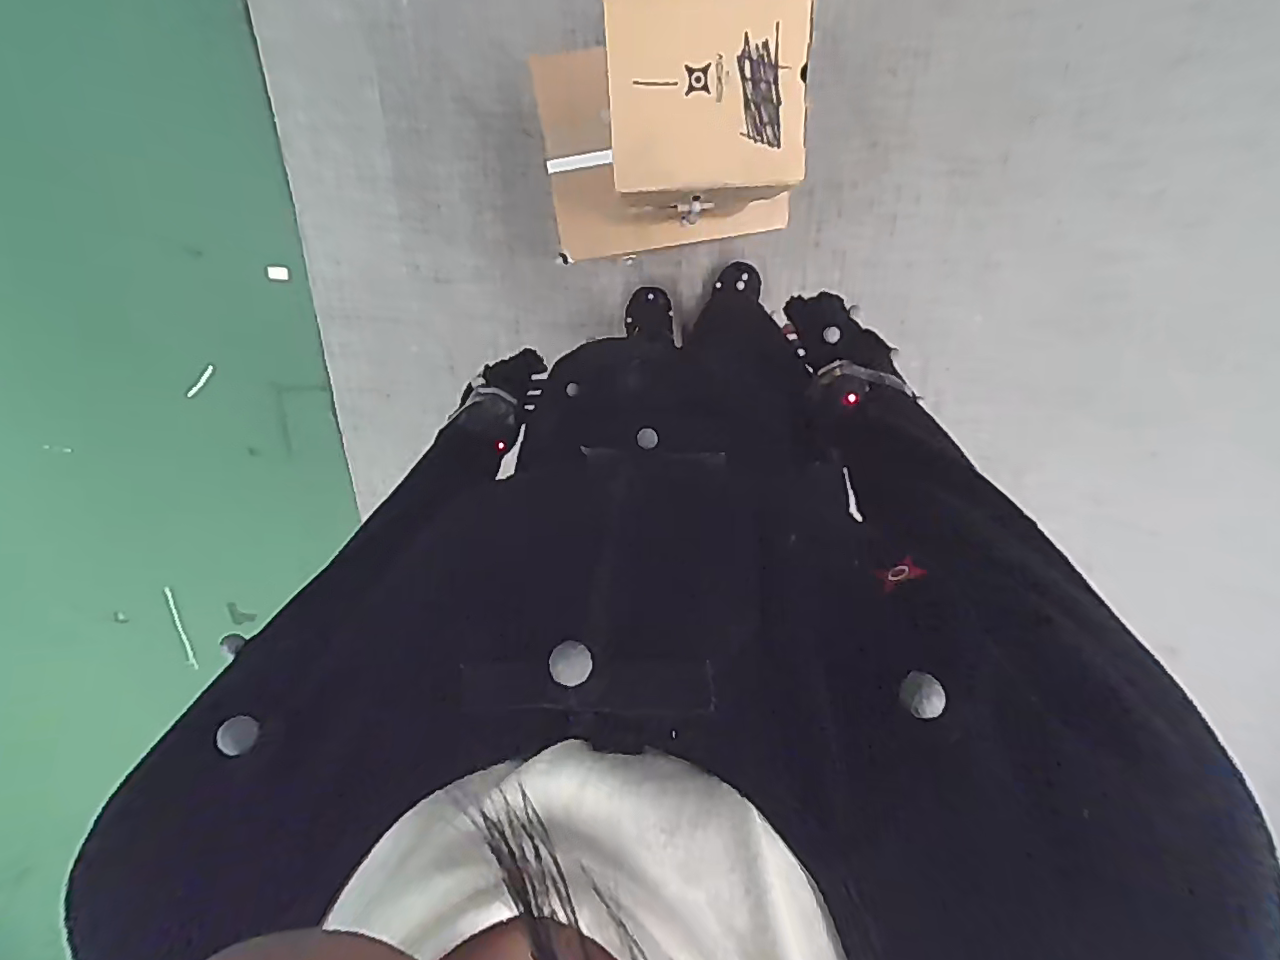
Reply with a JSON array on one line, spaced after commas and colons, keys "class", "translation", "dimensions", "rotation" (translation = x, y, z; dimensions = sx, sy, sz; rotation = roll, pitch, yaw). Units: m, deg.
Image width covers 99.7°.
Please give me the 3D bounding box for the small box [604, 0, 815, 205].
[{"class": "small box", "translation": [0.062, -0.375, 0.540], "dimensions": [0.179, 0.176, 0.168], "rotation": [-1, 112, 4]}]
